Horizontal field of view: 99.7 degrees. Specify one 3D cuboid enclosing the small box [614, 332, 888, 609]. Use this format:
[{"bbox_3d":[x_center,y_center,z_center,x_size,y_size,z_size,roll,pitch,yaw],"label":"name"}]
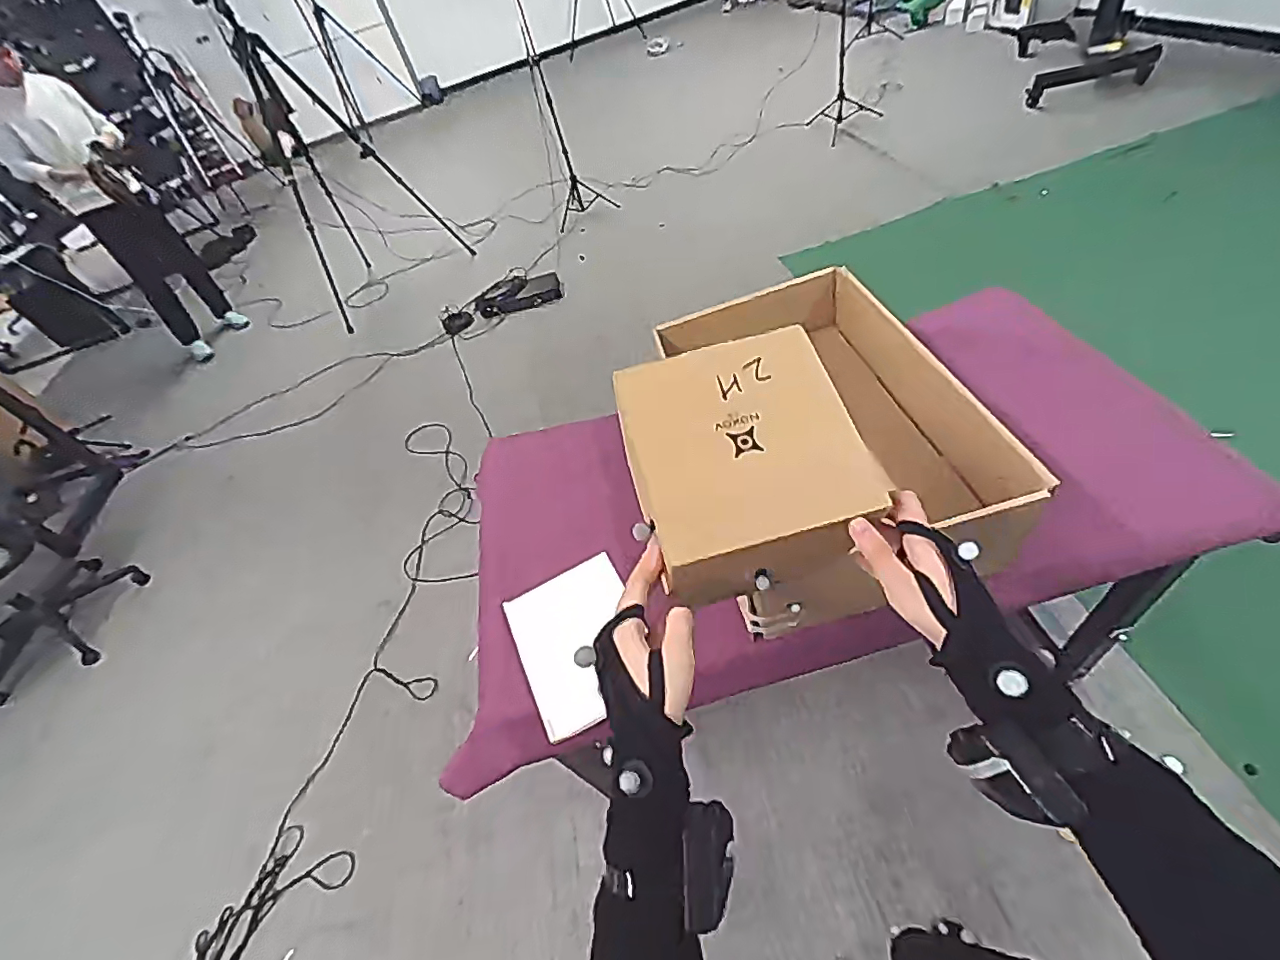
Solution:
[{"bbox_3d":[0.083,0.006,0.483,0.168,0.176,0.179,-15,64,-3],"label":"small box"}]
